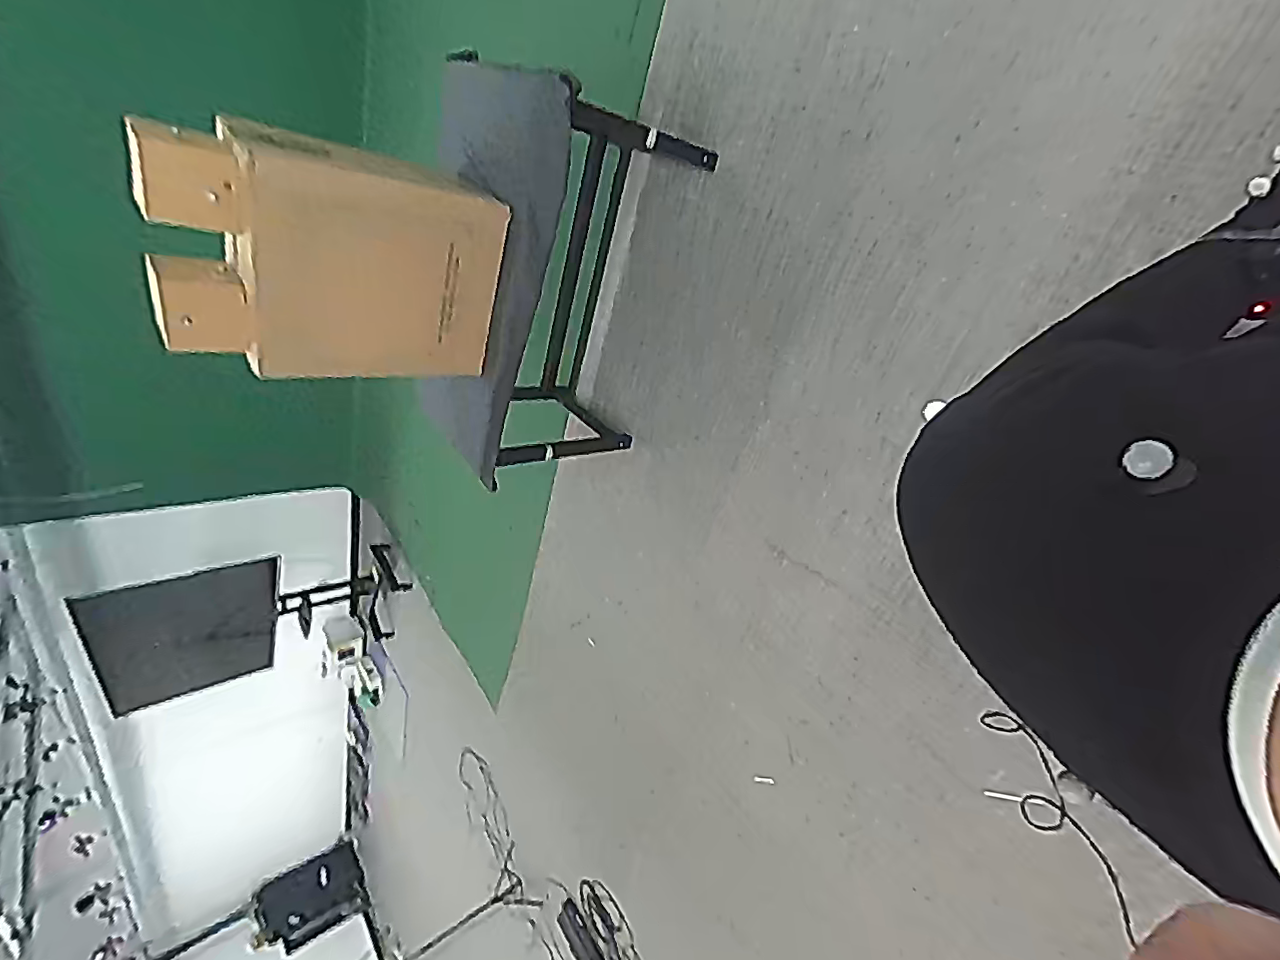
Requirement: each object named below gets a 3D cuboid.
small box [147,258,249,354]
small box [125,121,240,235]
[{"bbox_3d":[-1.095,-0.427,1.349,0.168,0.176,0.179,42,125,30],"label":"small box"},{"bbox_3d":[-1.018,-0.667,1.209,0.179,0.176,0.168,42,125,31],"label":"small box"}]
